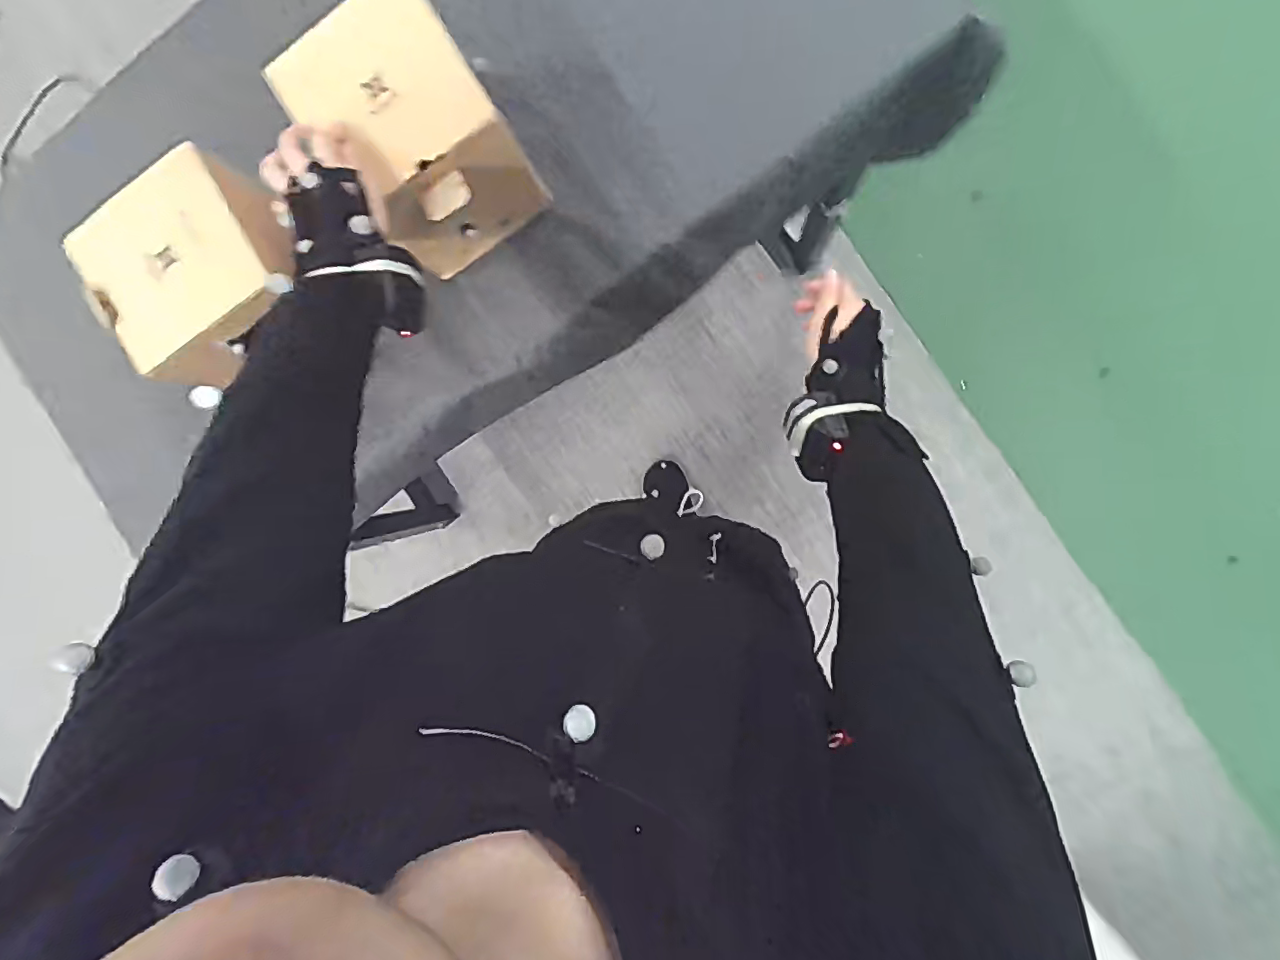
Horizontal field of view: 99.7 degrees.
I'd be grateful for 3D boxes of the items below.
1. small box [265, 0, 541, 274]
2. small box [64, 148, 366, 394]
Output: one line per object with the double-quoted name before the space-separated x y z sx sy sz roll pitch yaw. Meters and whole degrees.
"small box" -0.234 -0.358 0.579 0.168 0.176 0.179 -33 88 7
"small box" -0.460 -0.214 0.612 0.179 0.176 0.168 -32 88 7
